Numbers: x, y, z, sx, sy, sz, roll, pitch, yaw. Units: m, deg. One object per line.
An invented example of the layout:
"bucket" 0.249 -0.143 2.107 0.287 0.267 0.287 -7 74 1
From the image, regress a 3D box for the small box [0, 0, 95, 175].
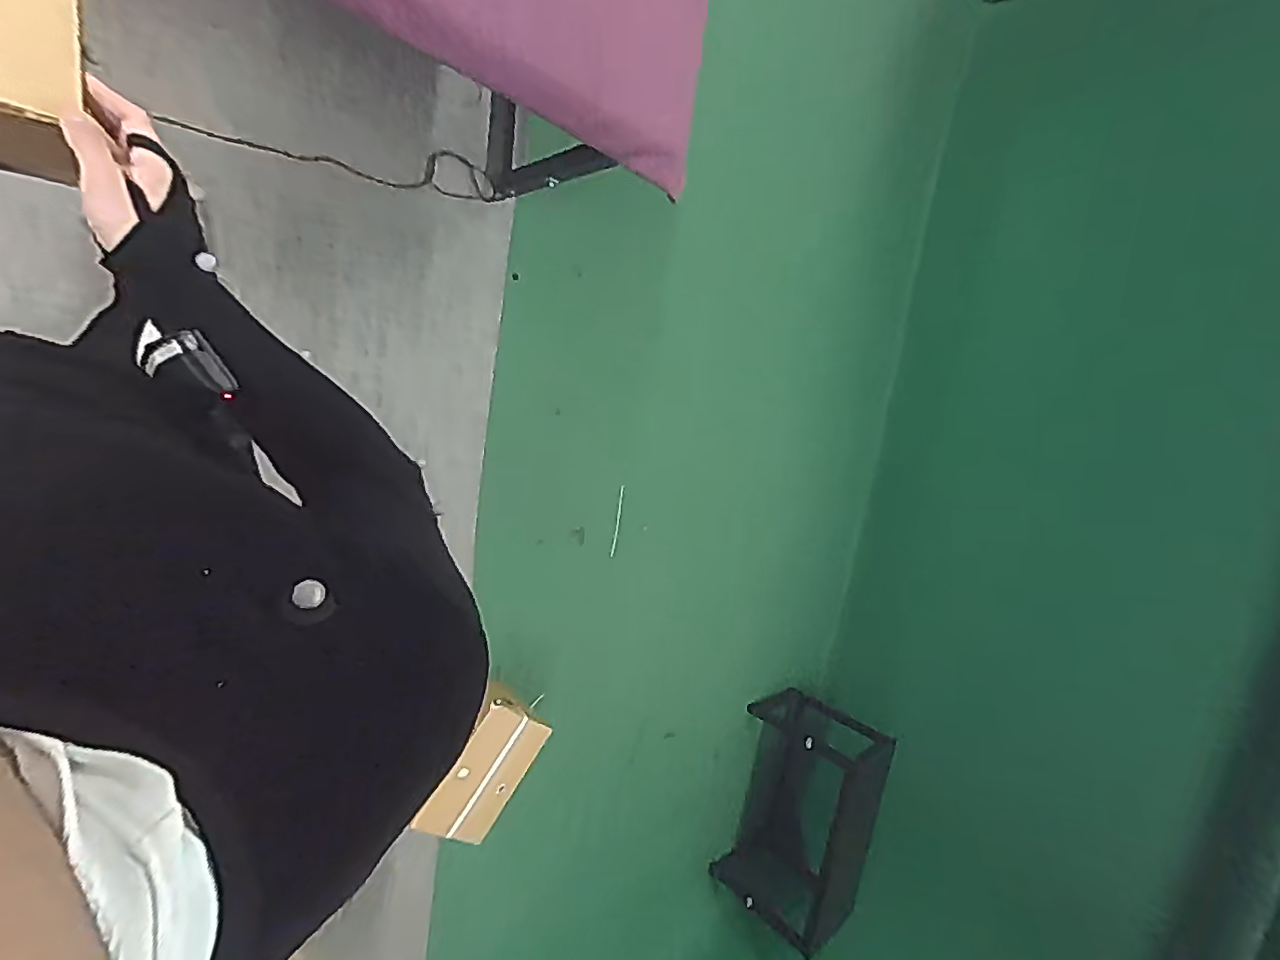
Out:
"small box" -0.539 -0.367 0.412 0.168 0.176 0.179 -3 98 -43
